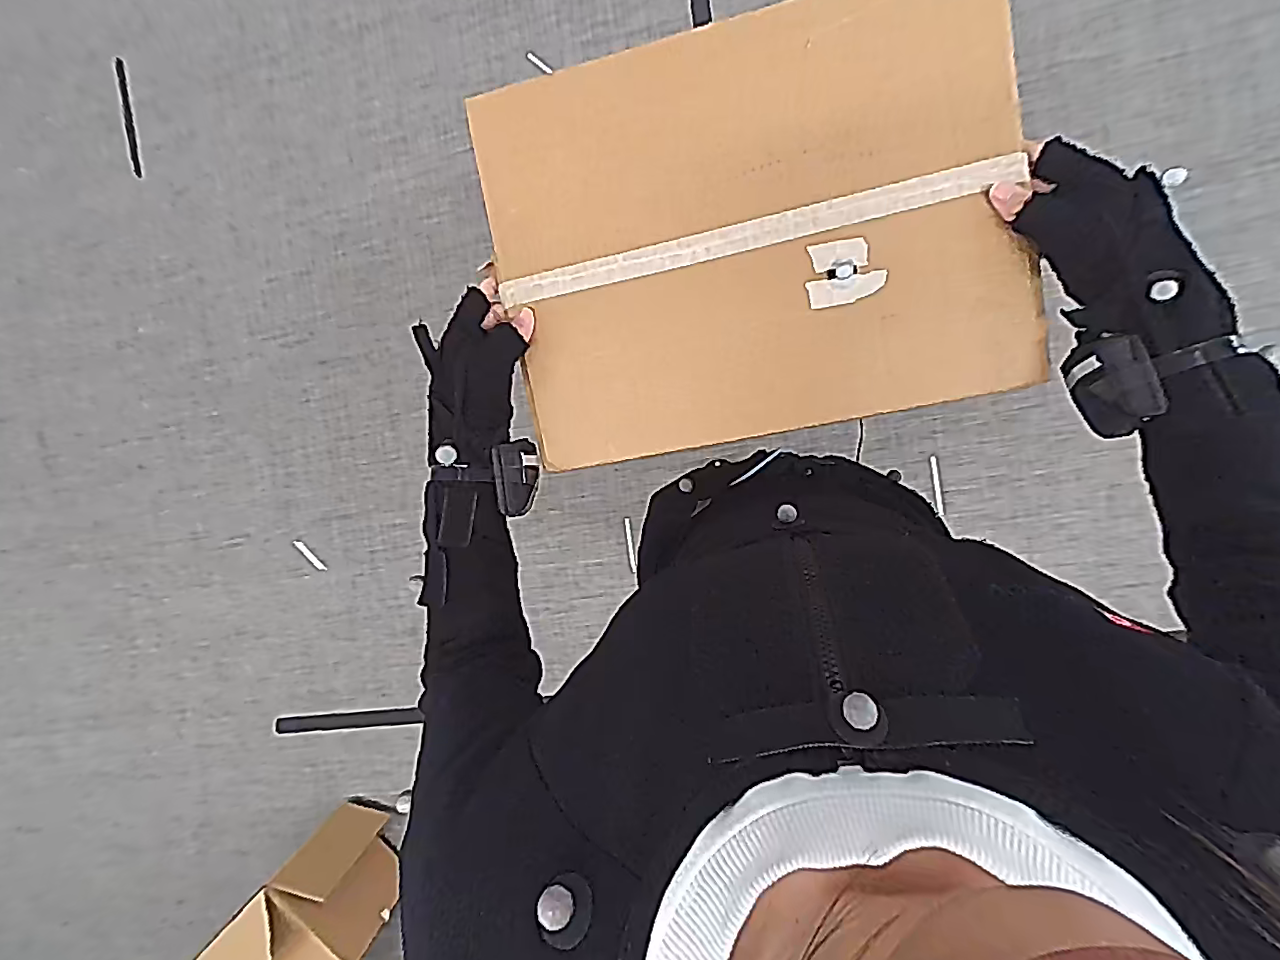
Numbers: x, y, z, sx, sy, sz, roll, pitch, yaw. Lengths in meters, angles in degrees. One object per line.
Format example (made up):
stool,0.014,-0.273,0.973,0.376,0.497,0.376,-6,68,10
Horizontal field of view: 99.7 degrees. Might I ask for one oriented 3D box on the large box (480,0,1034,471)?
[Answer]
large box,0.104,-0.211,0.584,0.408,0.320,0.320,-11,97,9
